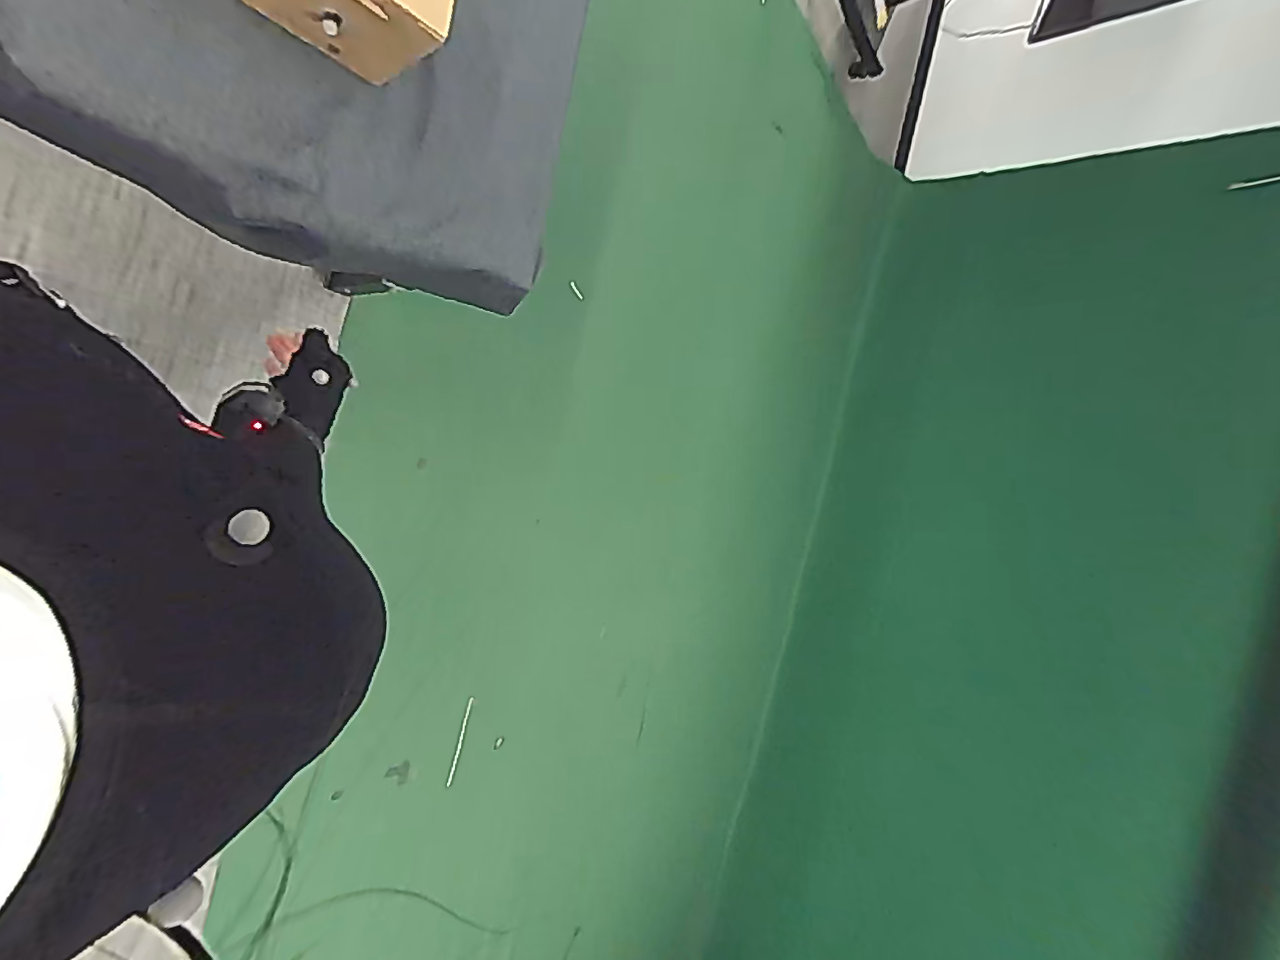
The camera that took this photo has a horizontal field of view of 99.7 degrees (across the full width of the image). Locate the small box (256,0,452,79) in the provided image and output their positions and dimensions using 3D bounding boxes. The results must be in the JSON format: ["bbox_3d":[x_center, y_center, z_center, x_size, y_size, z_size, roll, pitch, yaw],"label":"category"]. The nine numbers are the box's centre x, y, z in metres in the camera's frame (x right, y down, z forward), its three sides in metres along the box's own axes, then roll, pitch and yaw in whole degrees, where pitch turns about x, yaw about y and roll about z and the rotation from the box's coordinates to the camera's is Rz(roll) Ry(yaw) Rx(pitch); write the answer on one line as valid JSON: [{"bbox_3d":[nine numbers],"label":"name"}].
[{"bbox_3d":[-0.303,-0.567,0.559,0.168,0.176,0.179,8,96,-50],"label":"small box"}]
